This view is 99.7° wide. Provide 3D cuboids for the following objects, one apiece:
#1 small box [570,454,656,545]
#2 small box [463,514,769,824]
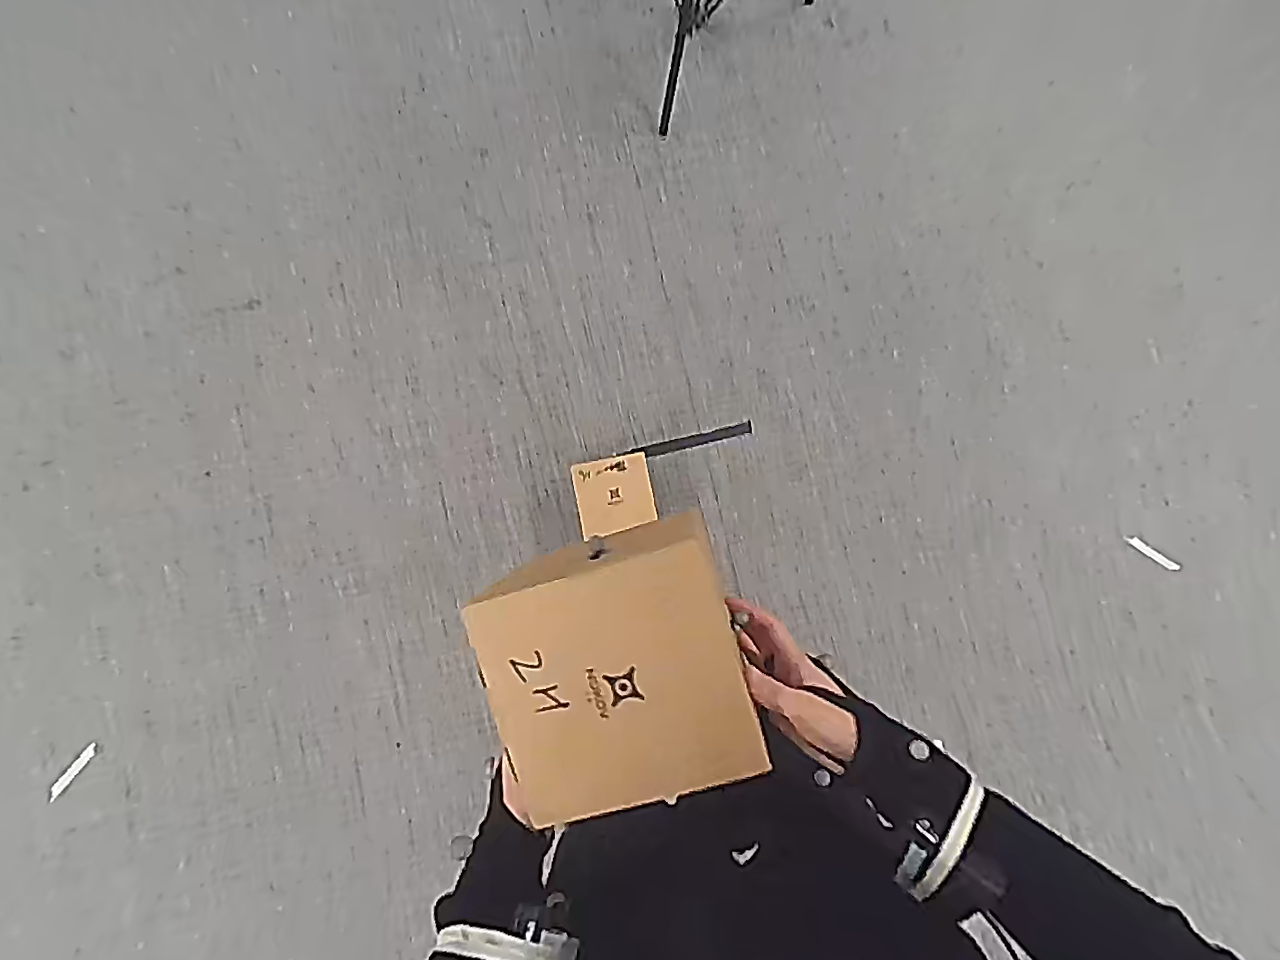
[{"bbox_3d":[-0.060,0.046,1.235,0.168,0.176,0.179,-11,86,-5],"label":"small box"},{"bbox_3d":[-0.012,0.135,0.451,0.179,0.176,0.168,-19,91,6],"label":"small box"}]
